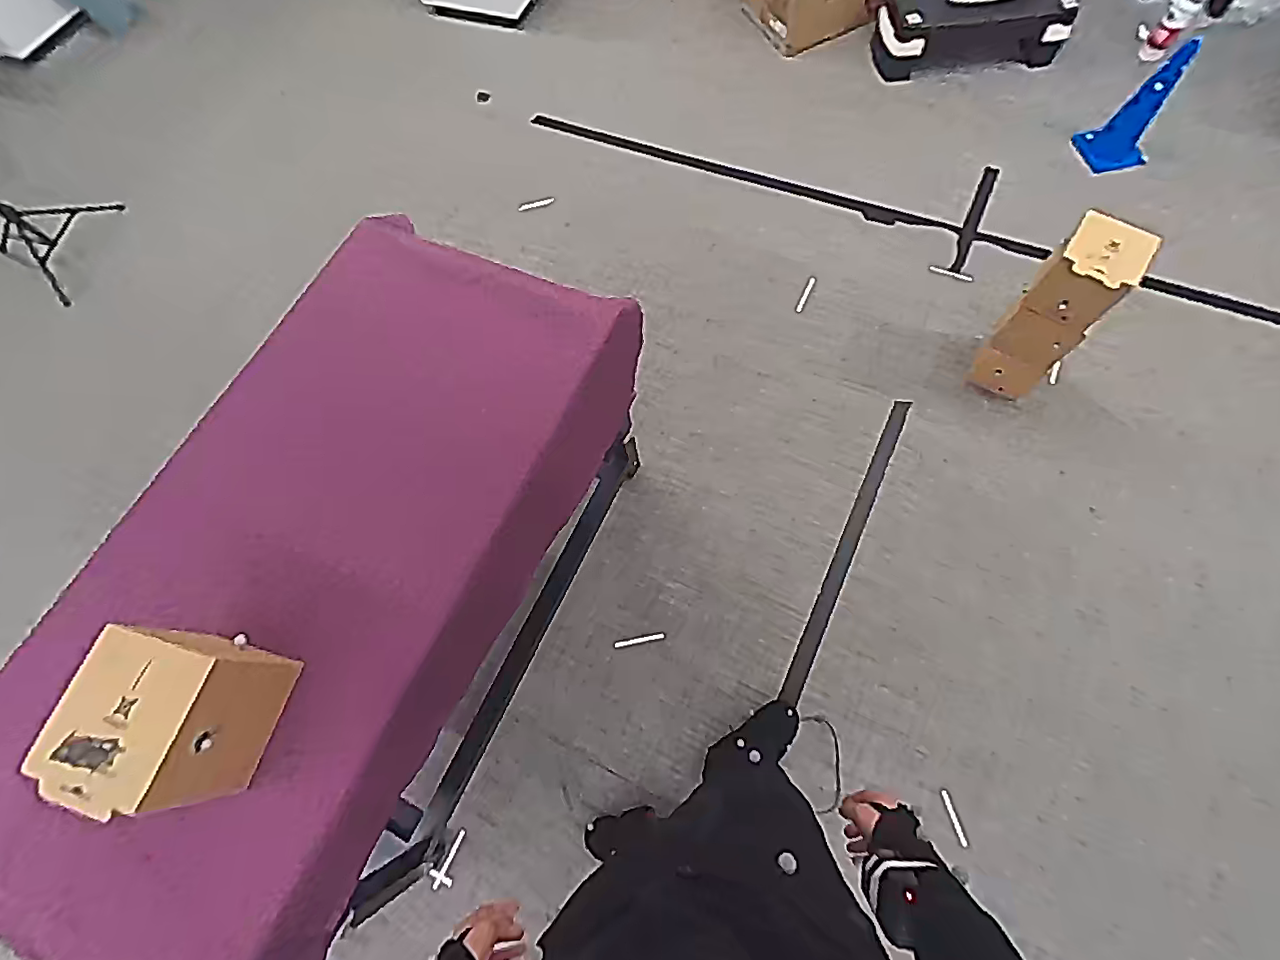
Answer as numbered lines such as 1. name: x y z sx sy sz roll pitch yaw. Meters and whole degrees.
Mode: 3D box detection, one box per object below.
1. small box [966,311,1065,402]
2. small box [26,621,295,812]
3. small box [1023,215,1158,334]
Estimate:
1. small box: 1.116 -0.363 1.623 0.168 0.176 0.179 28 73 13
2. small box: -0.608 0.303 0.716 0.168 0.176 0.179 13 70 9
3. small box: 1.089 -0.497 1.322 0.168 0.176 0.179 34 75 15
